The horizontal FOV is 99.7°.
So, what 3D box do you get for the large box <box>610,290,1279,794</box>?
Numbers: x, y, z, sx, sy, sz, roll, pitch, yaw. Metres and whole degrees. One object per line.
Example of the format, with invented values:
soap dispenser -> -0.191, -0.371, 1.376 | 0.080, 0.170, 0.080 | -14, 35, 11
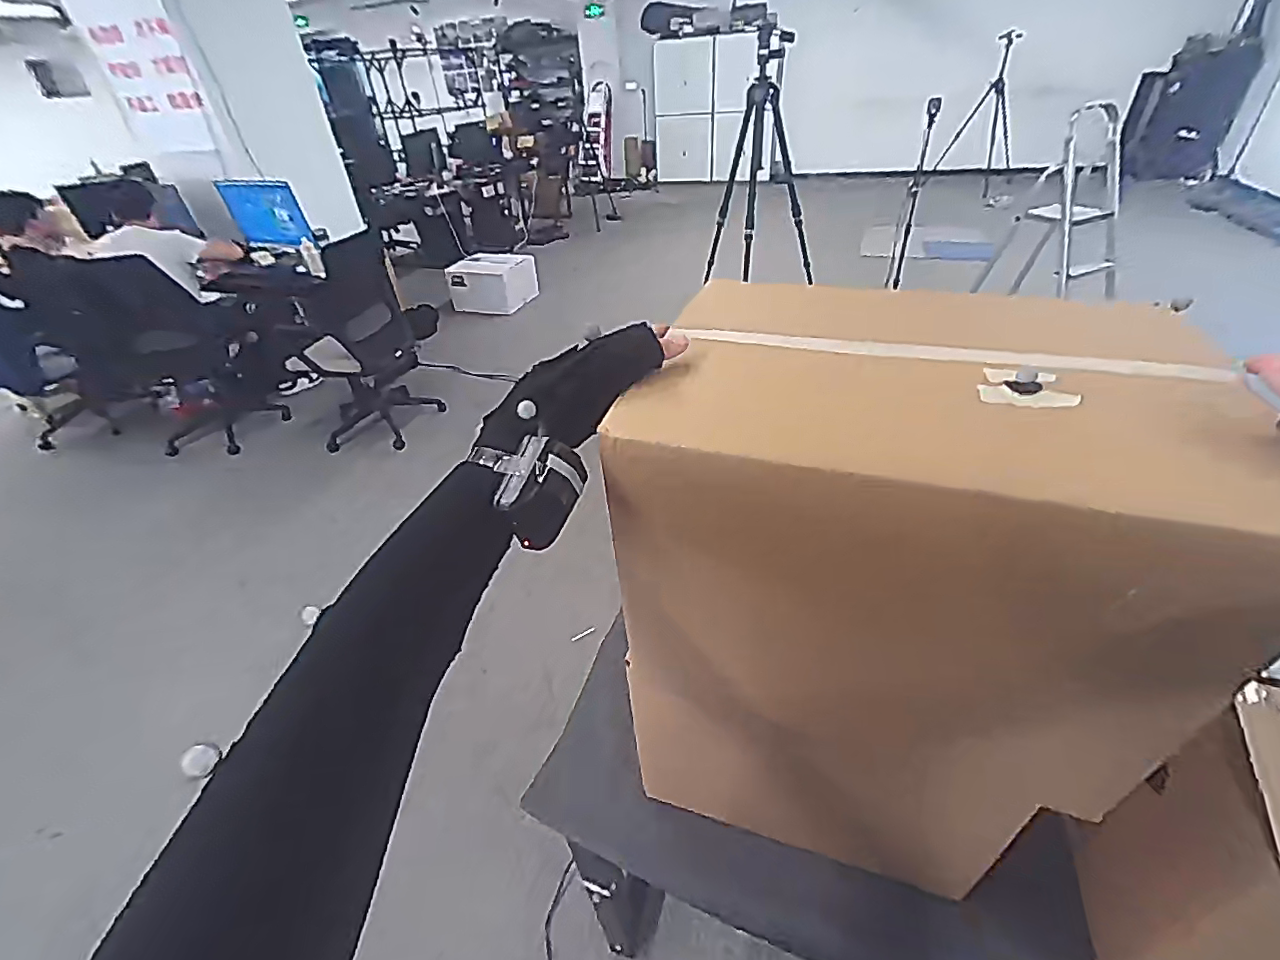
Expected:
large box -> 0.217, 0.029, 0.528 | 0.408, 0.320, 0.320 | 11, 42, 17
